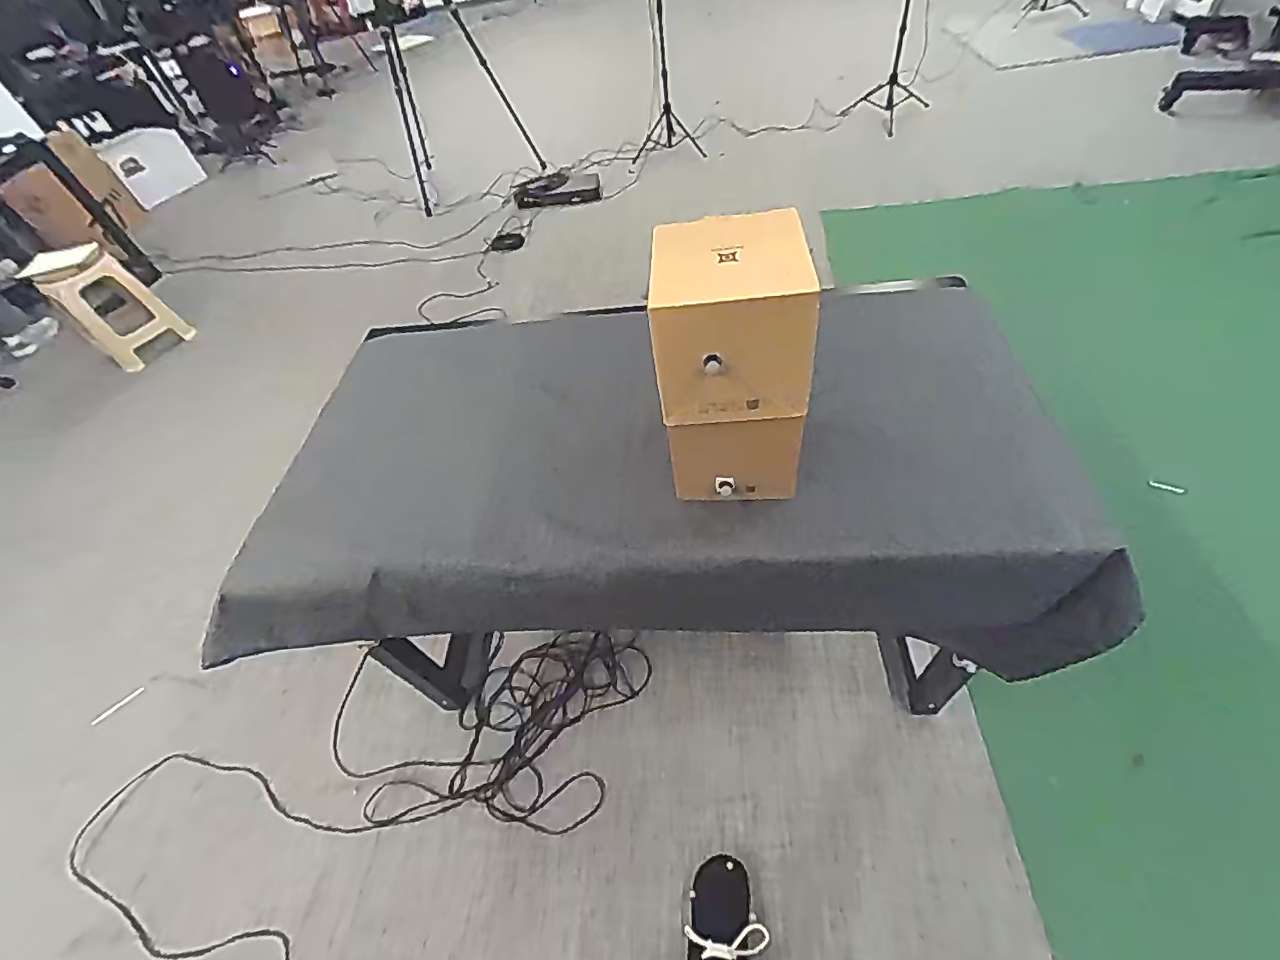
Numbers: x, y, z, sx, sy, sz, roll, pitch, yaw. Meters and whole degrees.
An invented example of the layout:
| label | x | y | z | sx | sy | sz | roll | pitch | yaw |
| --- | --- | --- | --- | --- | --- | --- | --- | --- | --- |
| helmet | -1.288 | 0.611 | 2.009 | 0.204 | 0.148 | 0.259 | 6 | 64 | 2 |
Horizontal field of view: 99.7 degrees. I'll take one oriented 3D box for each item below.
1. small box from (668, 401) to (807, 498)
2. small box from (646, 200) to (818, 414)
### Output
| label | x | y | z | sx | sy | sz | roll | pitch | yaw |
| --- | --- | --- | --- | --- | --- | --- | --- | --- | --- |
| small box | 0.131 | -0.094 | 0.751 | 0.168 | 0.176 | 0.179 | -3 | 52 | 9 |
| small box | 0.104 | -0.189 | 0.621 | 0.168 | 0.176 | 0.179 | -4 | 50 | 9 |
